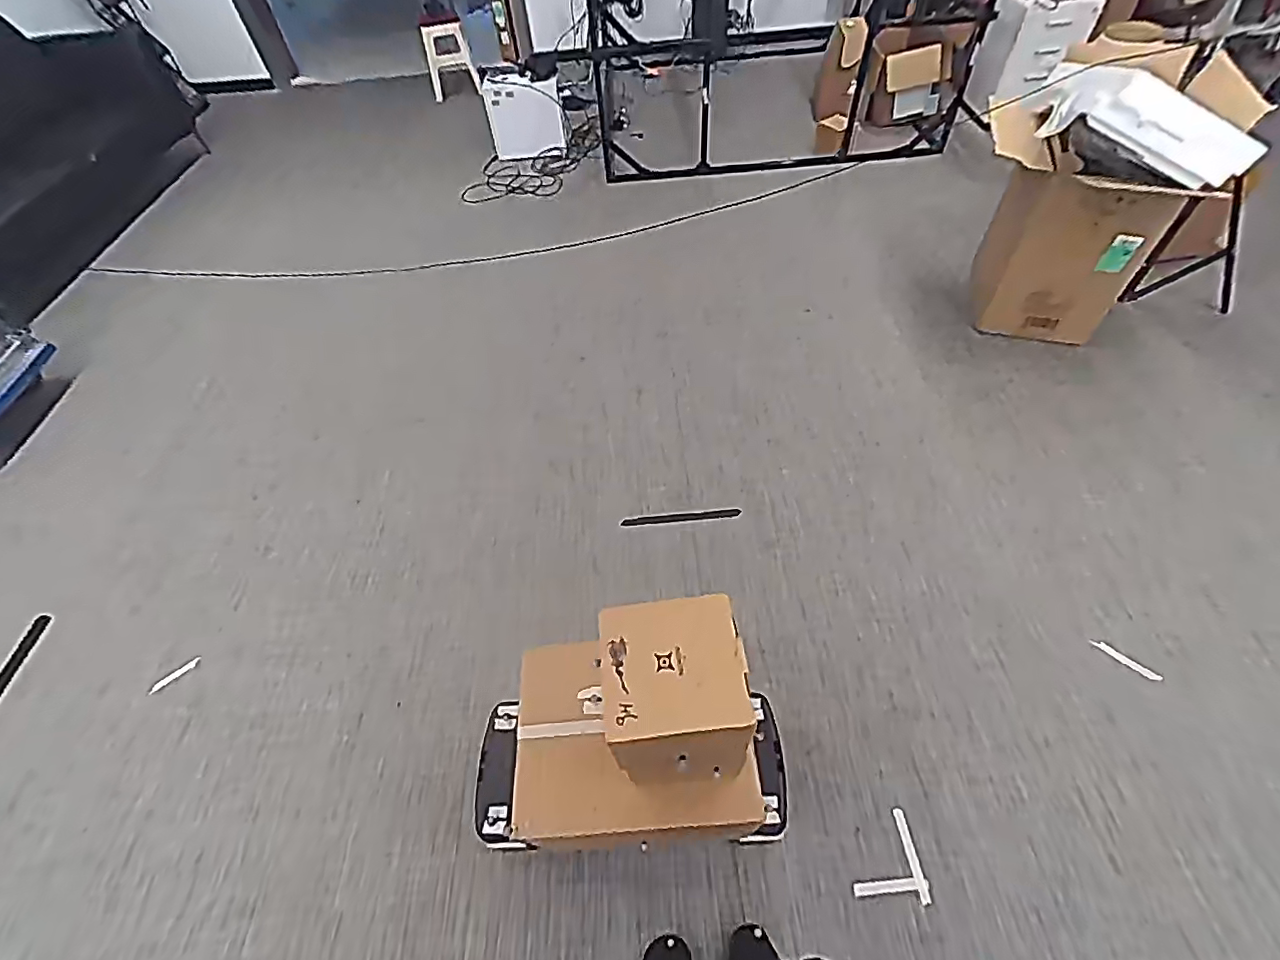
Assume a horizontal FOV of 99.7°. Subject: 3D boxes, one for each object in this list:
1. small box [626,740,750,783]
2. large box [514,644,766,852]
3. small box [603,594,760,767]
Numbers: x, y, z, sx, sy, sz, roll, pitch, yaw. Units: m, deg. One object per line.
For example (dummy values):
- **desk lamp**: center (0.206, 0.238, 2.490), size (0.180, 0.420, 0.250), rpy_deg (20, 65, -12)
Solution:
- **small box**: center (0.065, 0.365, 0.848), size (0.179, 0.176, 0.168), rpy_deg (-6, 52, 1)
- **large box**: center (0.003, 0.515, 1.048), size (0.408, 0.320, 0.320), rpy_deg (-6, 51, 2)
- **small box**: center (0.047, 0.269, 0.717), size (0.179, 0.176, 0.168), rpy_deg (-6, 51, -1)
